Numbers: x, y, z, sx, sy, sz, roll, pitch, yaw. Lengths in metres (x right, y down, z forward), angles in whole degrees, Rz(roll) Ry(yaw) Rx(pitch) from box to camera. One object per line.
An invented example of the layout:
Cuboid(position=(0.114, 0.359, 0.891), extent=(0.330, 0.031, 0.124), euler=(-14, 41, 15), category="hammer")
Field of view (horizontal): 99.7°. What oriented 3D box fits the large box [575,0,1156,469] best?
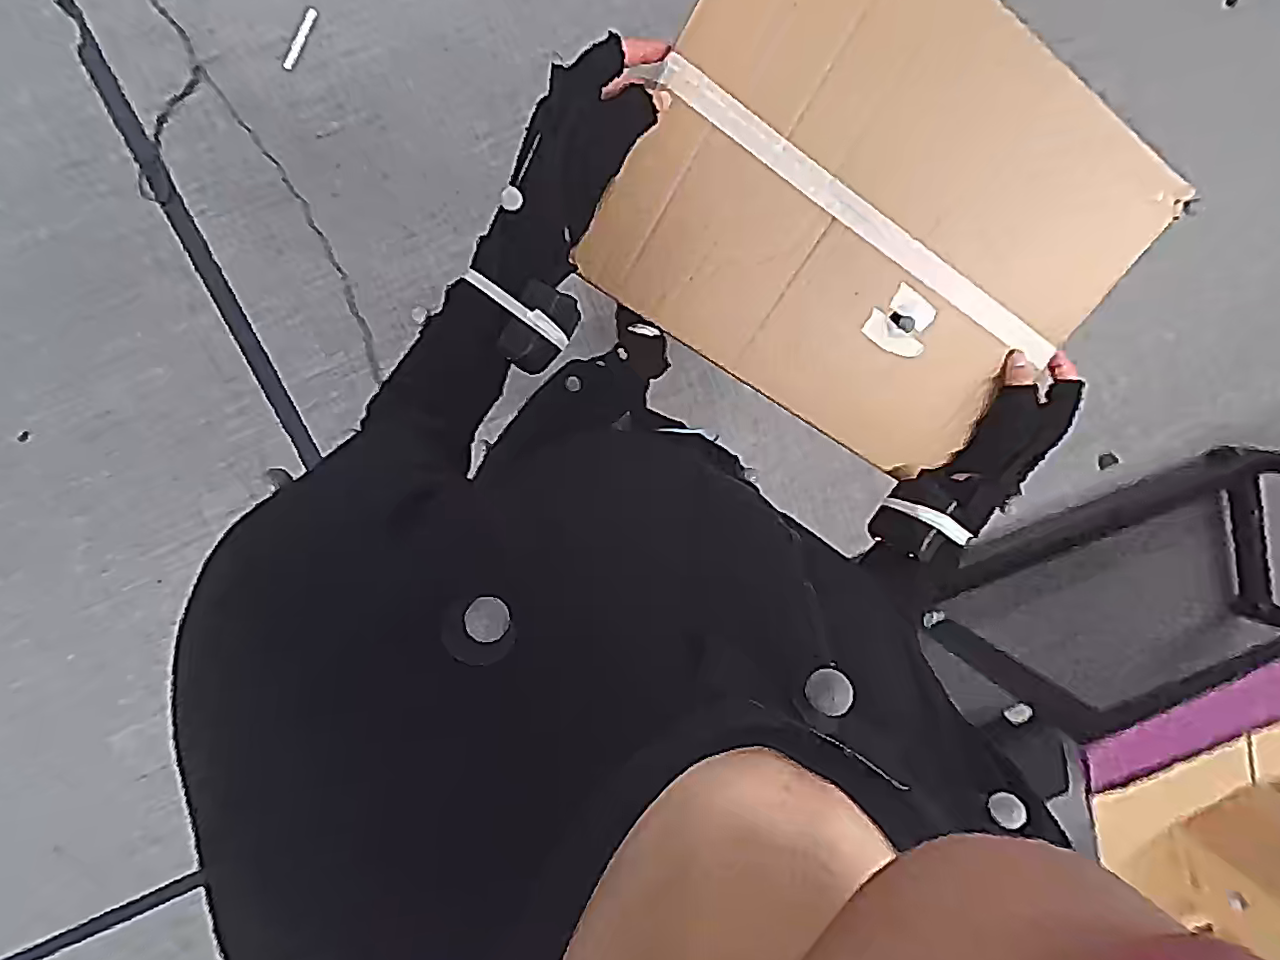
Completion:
Cuboid(position=(0.180, -0.278, 0.591), extent=(0.408, 0.320, 0.320), euler=(29, 110, -14), category="large box")
